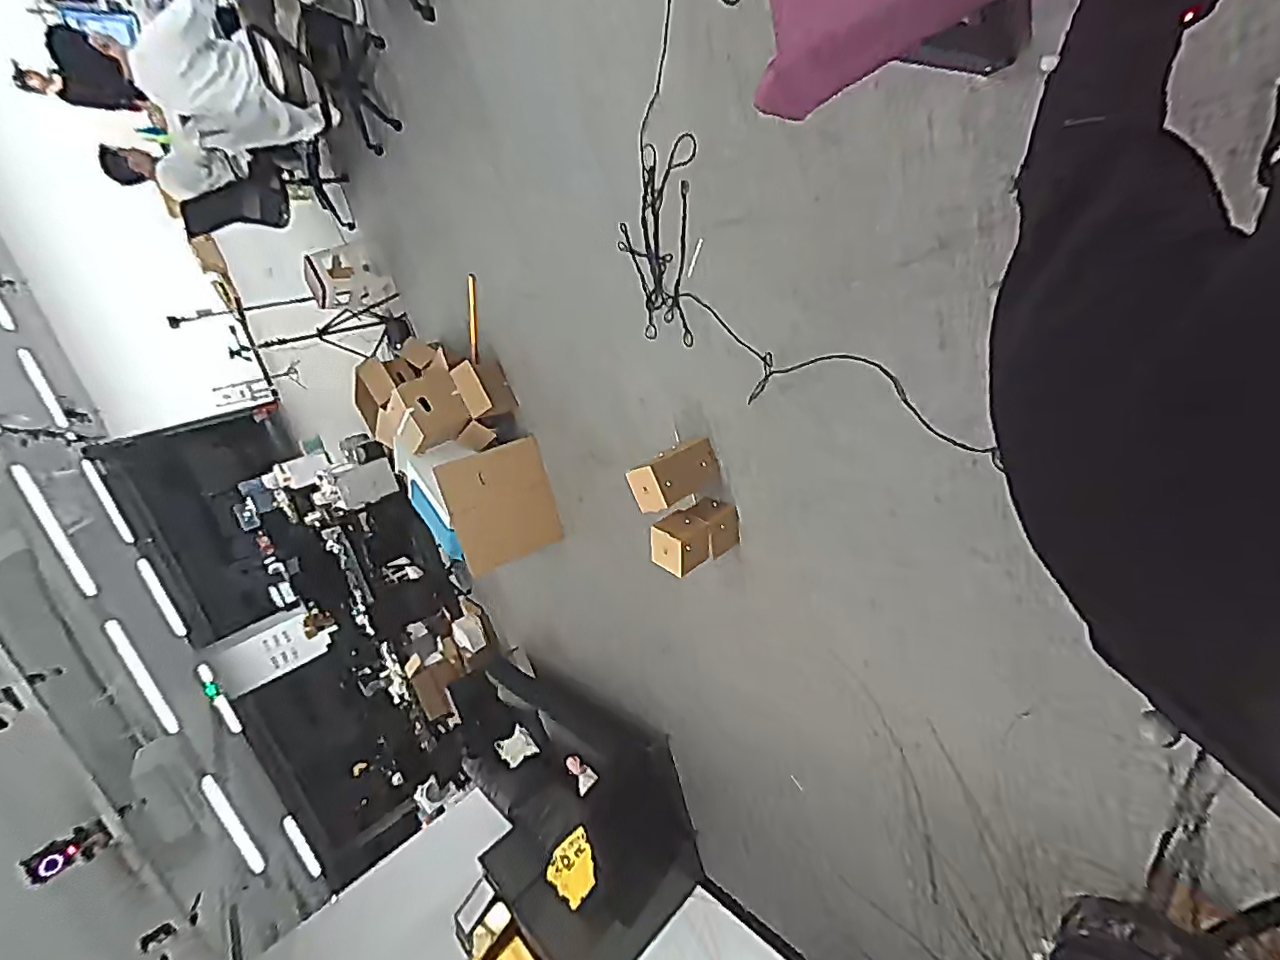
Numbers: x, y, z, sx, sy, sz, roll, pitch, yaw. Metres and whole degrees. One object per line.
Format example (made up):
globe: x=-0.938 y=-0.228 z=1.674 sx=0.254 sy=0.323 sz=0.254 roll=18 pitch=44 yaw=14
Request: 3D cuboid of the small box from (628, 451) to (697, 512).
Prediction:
small box: x=0.092 y=0.007 z=2.084 sx=0.168 sy=0.176 sz=0.179 roll=-14 pitch=101 yaw=53

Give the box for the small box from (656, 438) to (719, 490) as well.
small box: x=0.200 y=-0.060 z=2.186 sx=0.179 sy=0.176 sz=0.168 roll=-6 pitch=107 yaw=53

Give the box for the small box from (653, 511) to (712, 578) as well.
small box: x=0.171 y=0.249 z=2.144 sx=0.168 sy=0.176 sz=0.179 roll=26 pitch=129 yaw=42
